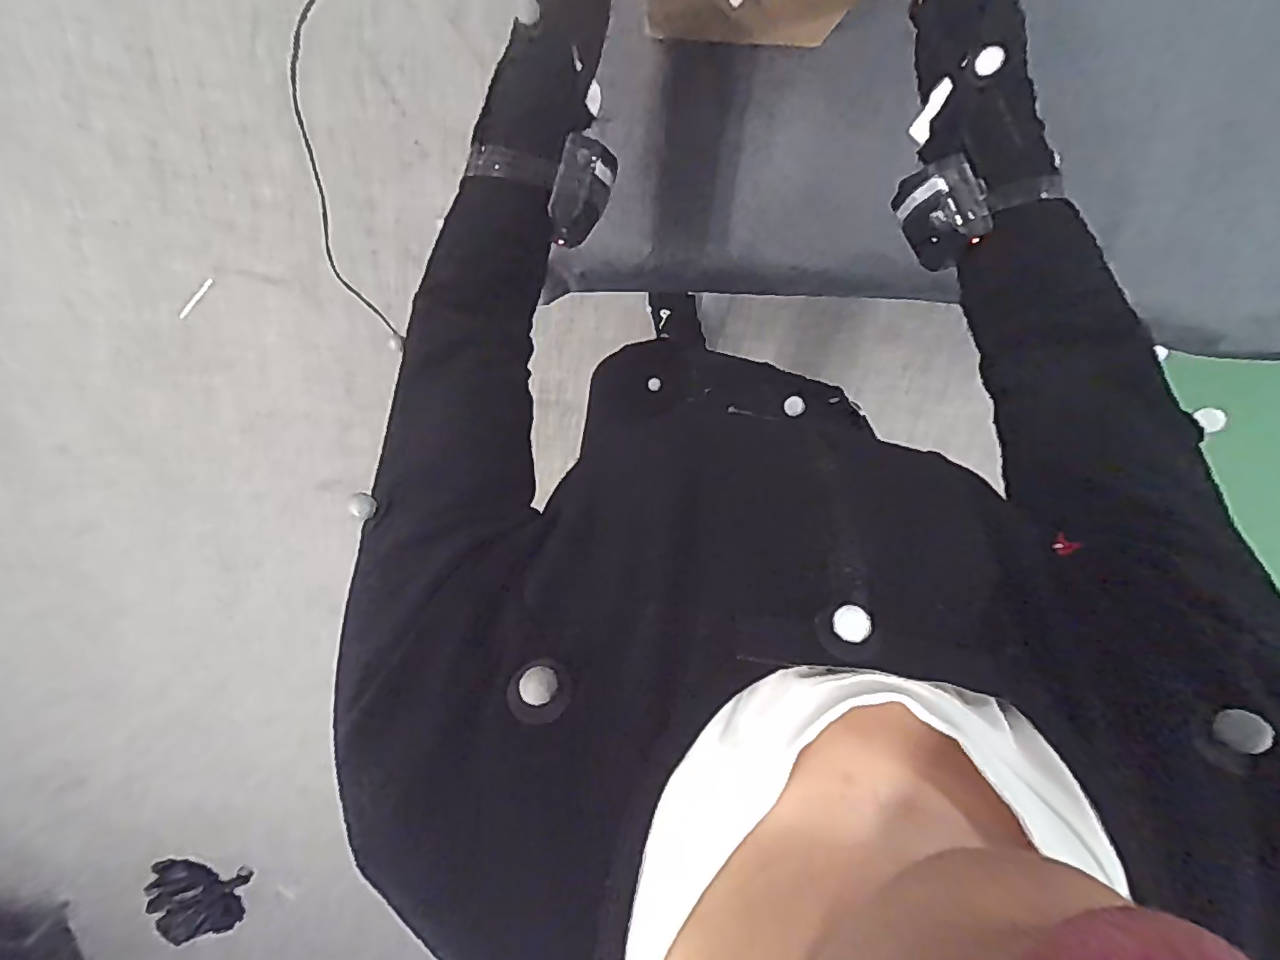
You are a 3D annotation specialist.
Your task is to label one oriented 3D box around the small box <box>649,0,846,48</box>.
[{"bbox_3d":[0.097,-0.480,0.437,0.179,0.176,0.168,3,113,0],"label":"small box"}]
